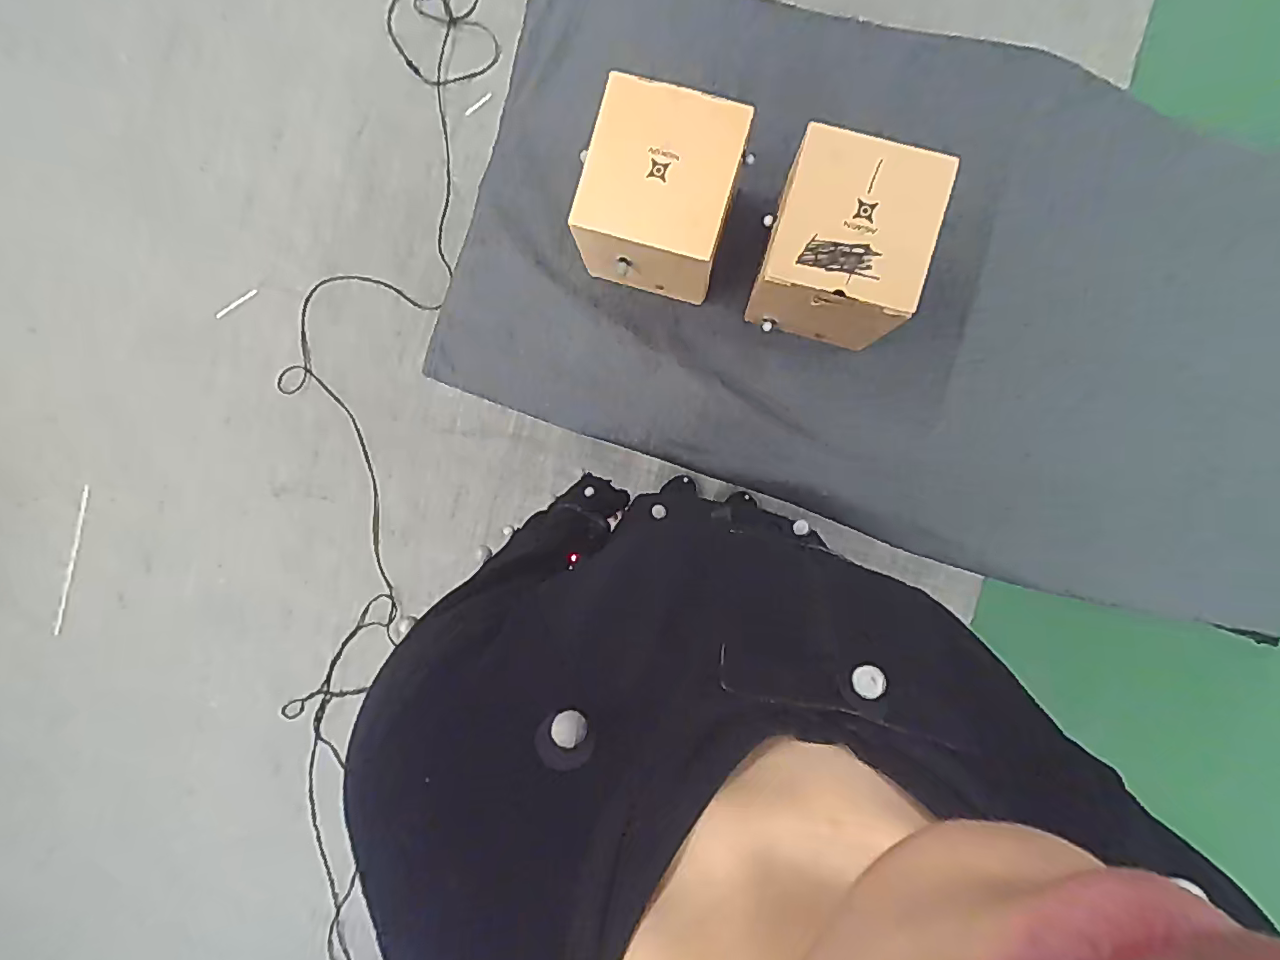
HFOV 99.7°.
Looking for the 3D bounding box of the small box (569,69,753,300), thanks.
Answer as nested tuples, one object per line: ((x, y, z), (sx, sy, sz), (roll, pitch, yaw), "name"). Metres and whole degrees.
((0.028, -0.345, 0.667), (0.168, 0.176, 0.179), (16, 92, 3), "small box")
